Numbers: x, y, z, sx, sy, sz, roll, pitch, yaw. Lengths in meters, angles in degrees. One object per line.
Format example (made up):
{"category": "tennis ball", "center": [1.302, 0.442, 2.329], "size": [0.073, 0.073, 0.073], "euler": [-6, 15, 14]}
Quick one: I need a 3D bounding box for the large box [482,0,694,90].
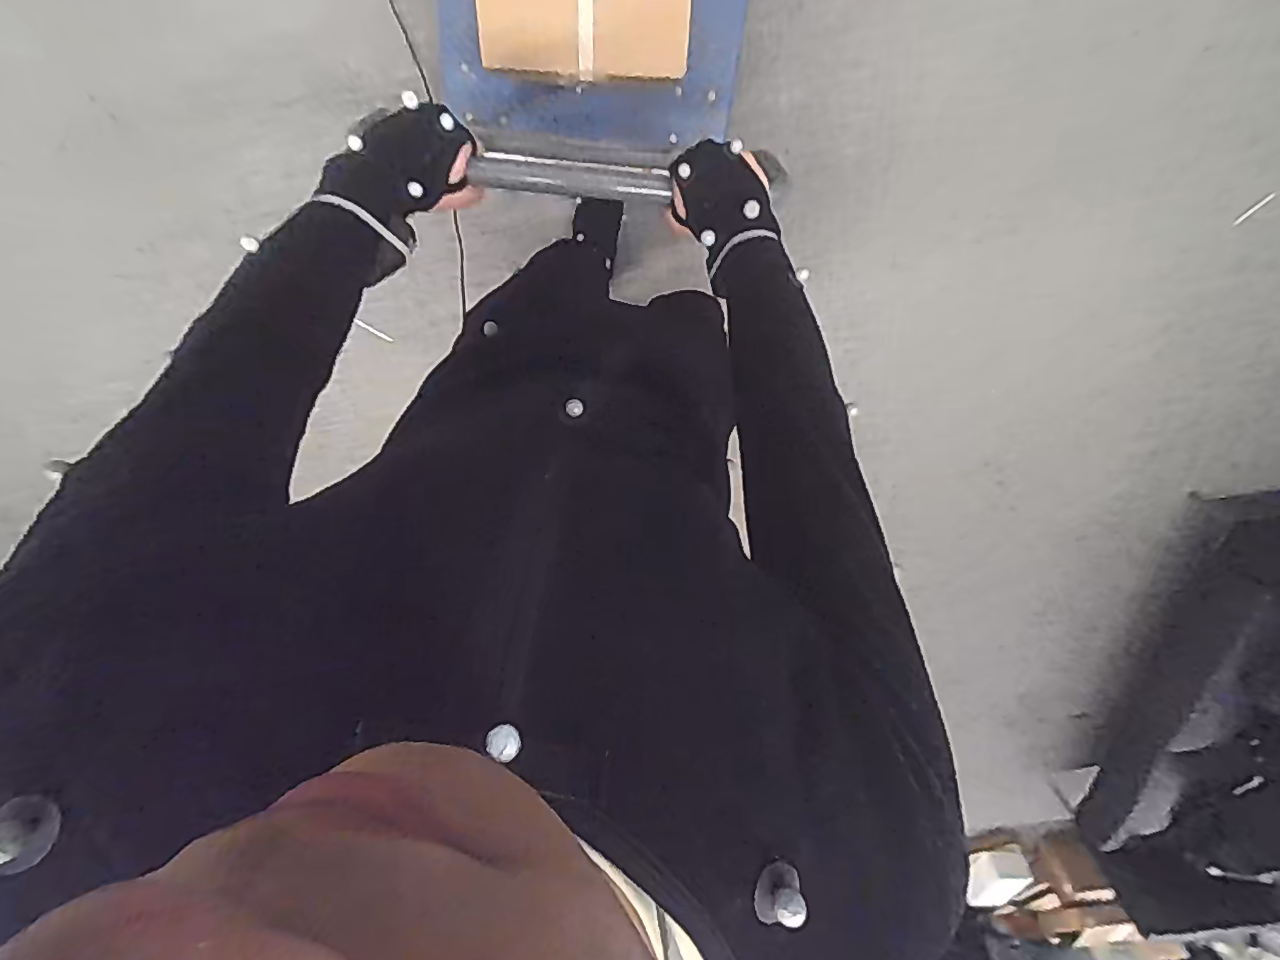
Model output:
{"category": "large box", "center": [-0.079, -0.871, 0.855], "size": [0.320, 0.320, 0.408], "euler": [0, 123, -3]}
